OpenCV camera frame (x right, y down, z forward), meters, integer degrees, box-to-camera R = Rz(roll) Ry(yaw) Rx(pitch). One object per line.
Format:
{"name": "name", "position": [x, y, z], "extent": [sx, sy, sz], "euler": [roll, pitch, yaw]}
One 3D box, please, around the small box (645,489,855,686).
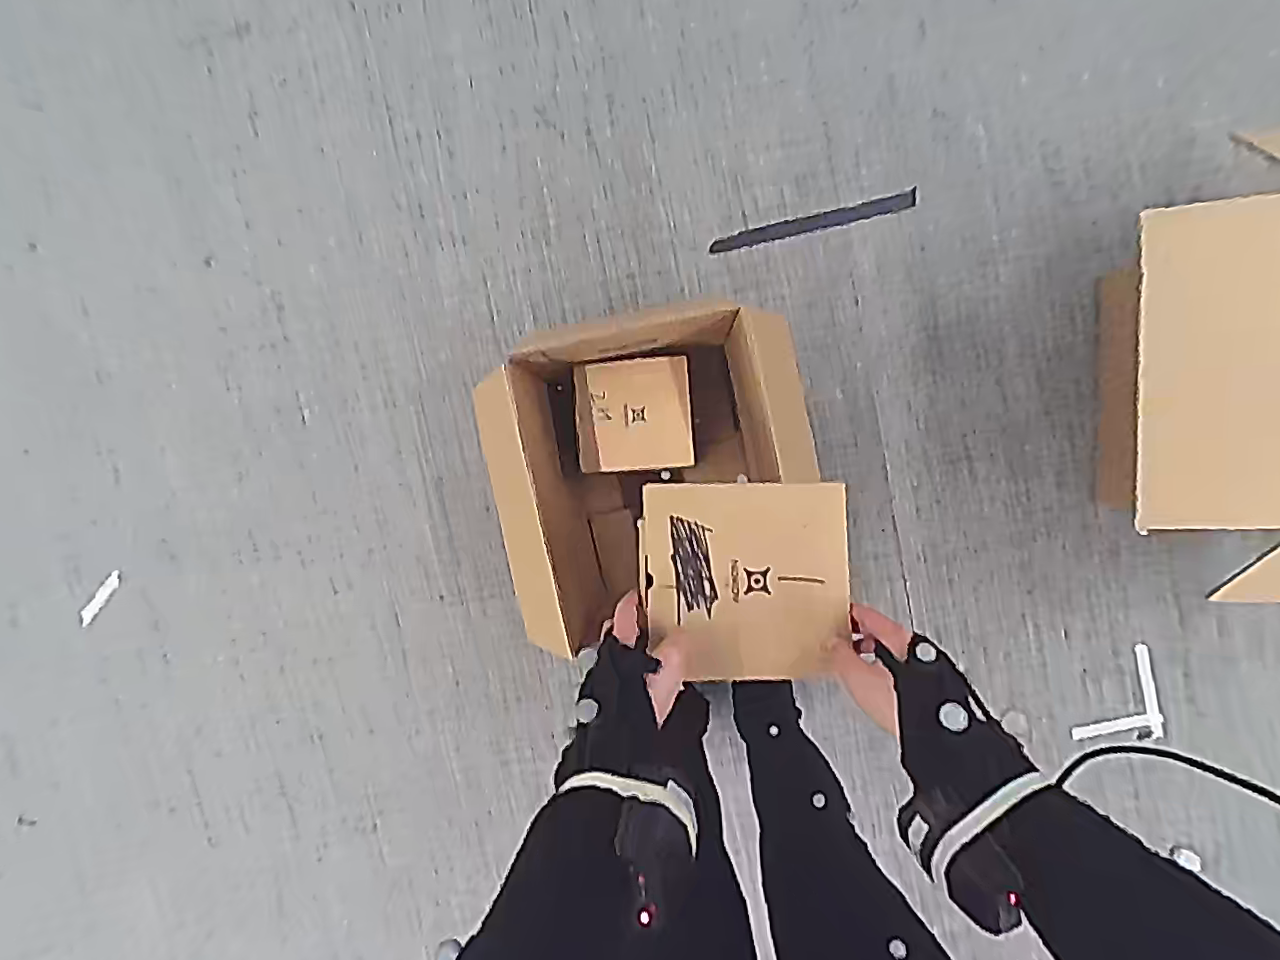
{"name": "small box", "position": [0.097, 0.098, 0.540], "extent": [0.179, 0.176, 0.168], "euler": [-1, 84, 3]}
